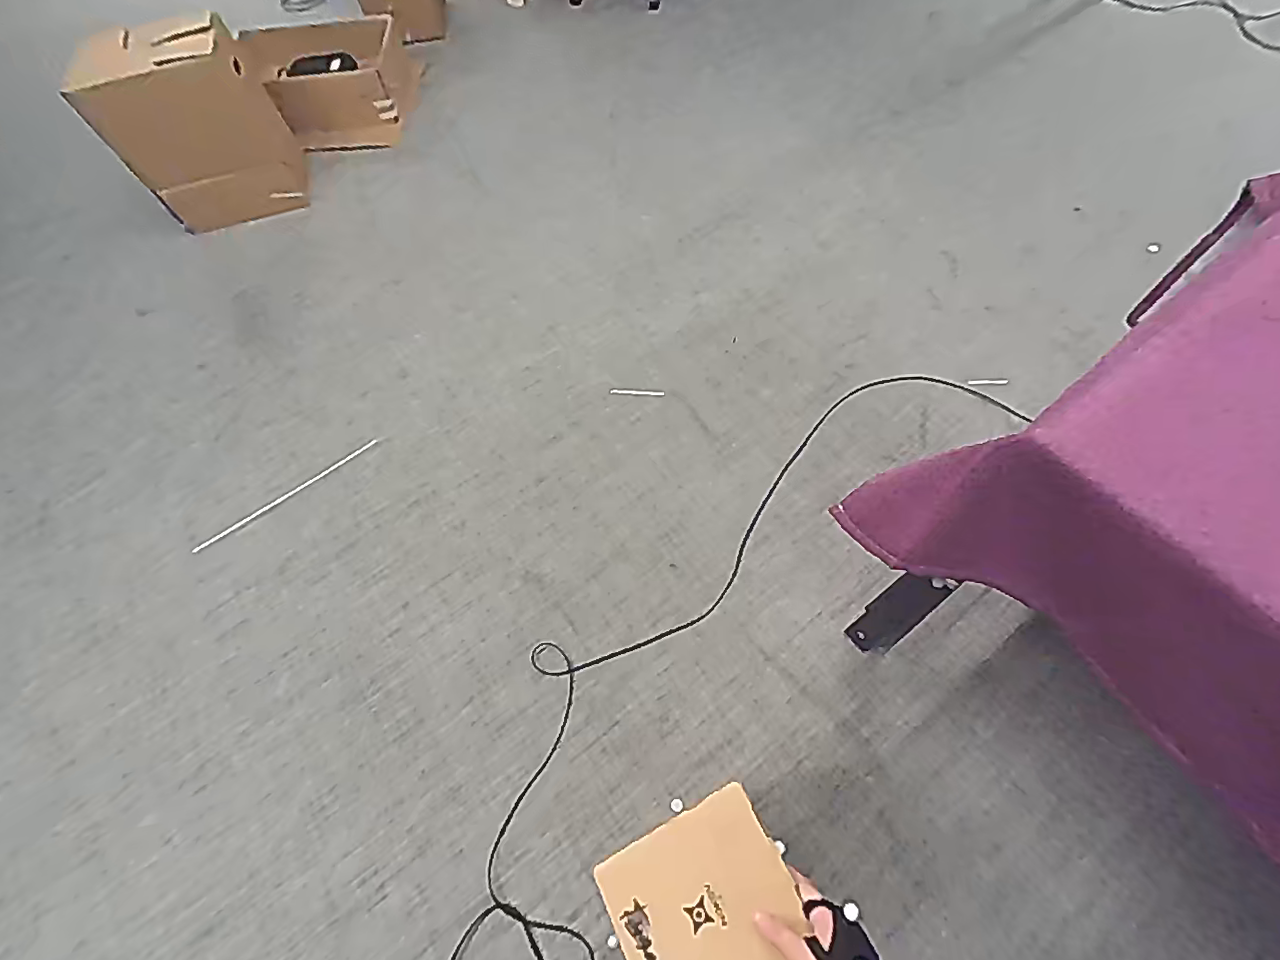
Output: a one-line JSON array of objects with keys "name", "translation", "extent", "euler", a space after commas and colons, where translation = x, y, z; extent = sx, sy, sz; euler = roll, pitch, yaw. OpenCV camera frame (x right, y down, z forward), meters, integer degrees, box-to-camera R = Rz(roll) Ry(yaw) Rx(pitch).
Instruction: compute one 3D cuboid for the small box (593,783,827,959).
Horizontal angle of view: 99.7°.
[{"name": "small box", "translation": [0.066, 0.455, 0.590], "extent": [0.179, 0.176, 0.168], "euler": [-26, 62, -11]}]
